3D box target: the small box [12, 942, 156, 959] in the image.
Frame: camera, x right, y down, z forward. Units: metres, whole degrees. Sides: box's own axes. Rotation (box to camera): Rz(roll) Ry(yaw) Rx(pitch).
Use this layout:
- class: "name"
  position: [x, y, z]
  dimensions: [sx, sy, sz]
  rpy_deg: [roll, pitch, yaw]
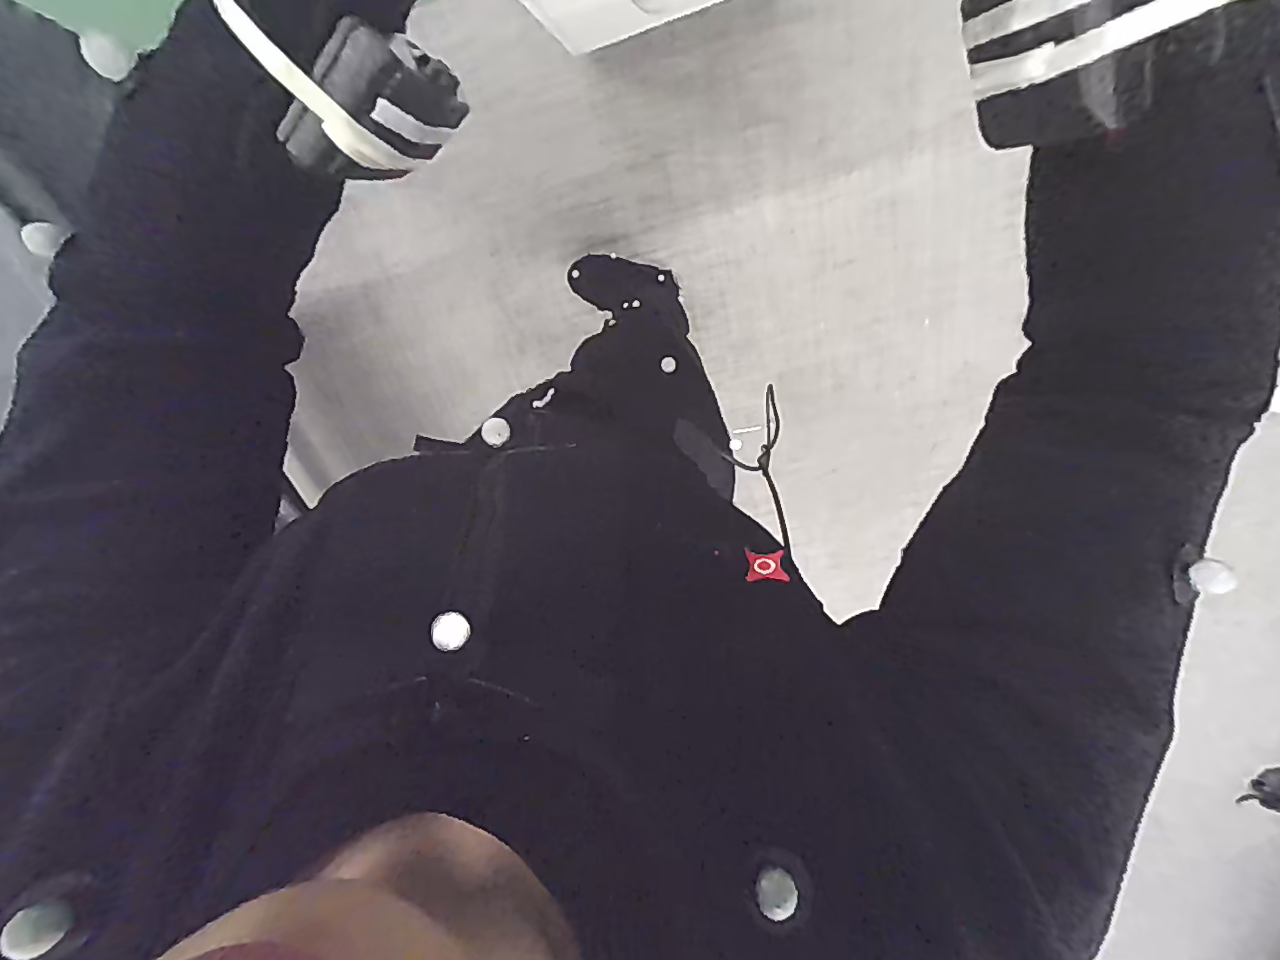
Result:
- class: "small box"
  position: [-0.584, 0.593, 0.535]
  dimensions: [0.179, 0.176, 0.168]
  rpy_deg: [-19, 116, 15]
